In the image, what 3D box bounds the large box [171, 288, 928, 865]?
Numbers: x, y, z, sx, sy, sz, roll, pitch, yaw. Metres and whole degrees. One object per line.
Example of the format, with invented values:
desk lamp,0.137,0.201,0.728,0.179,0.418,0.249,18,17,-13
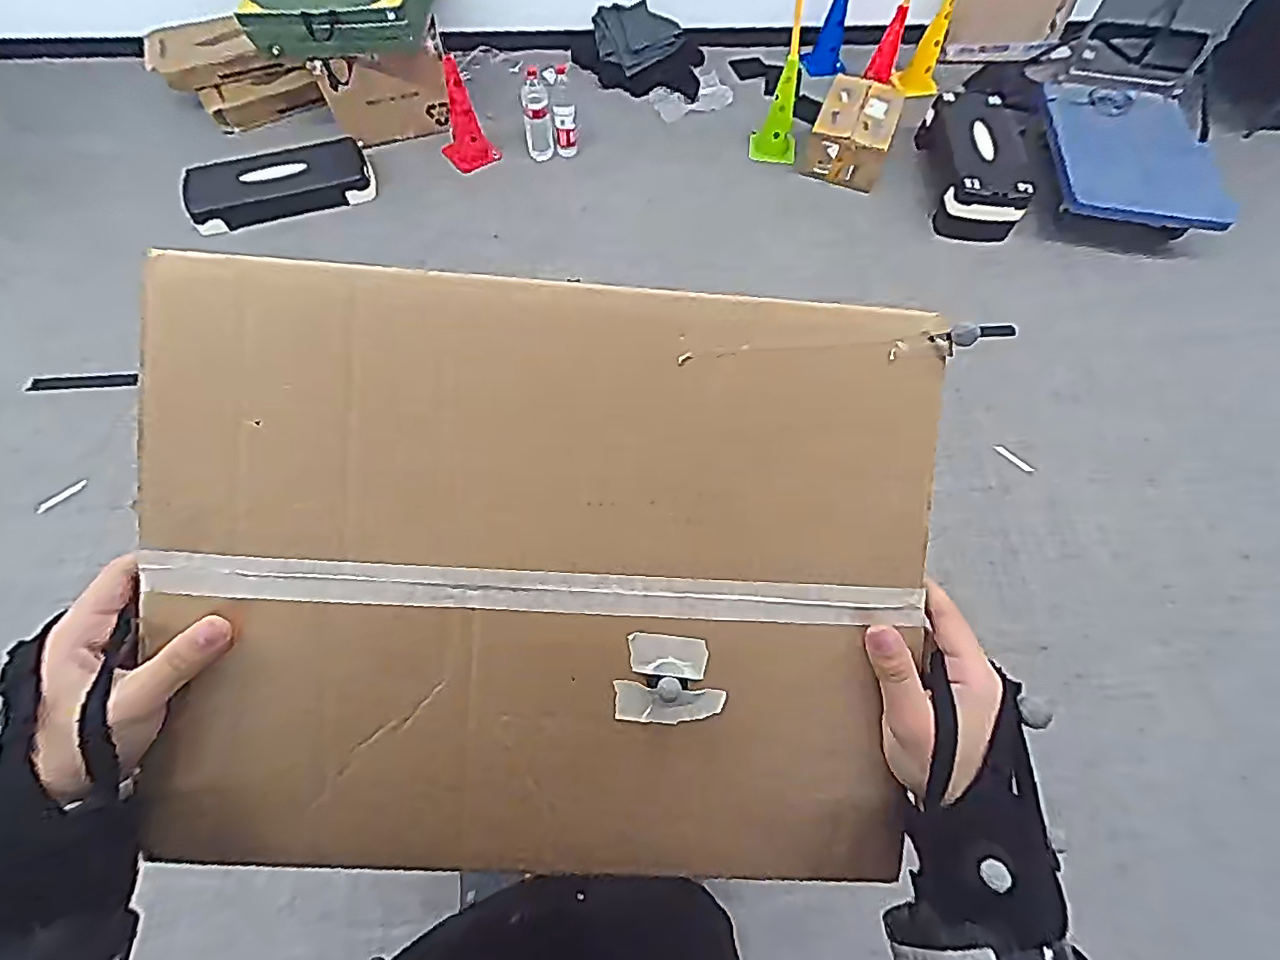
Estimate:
large box,-0.056,0.055,0.444,0.408,0.320,0.320,4,94,-4
